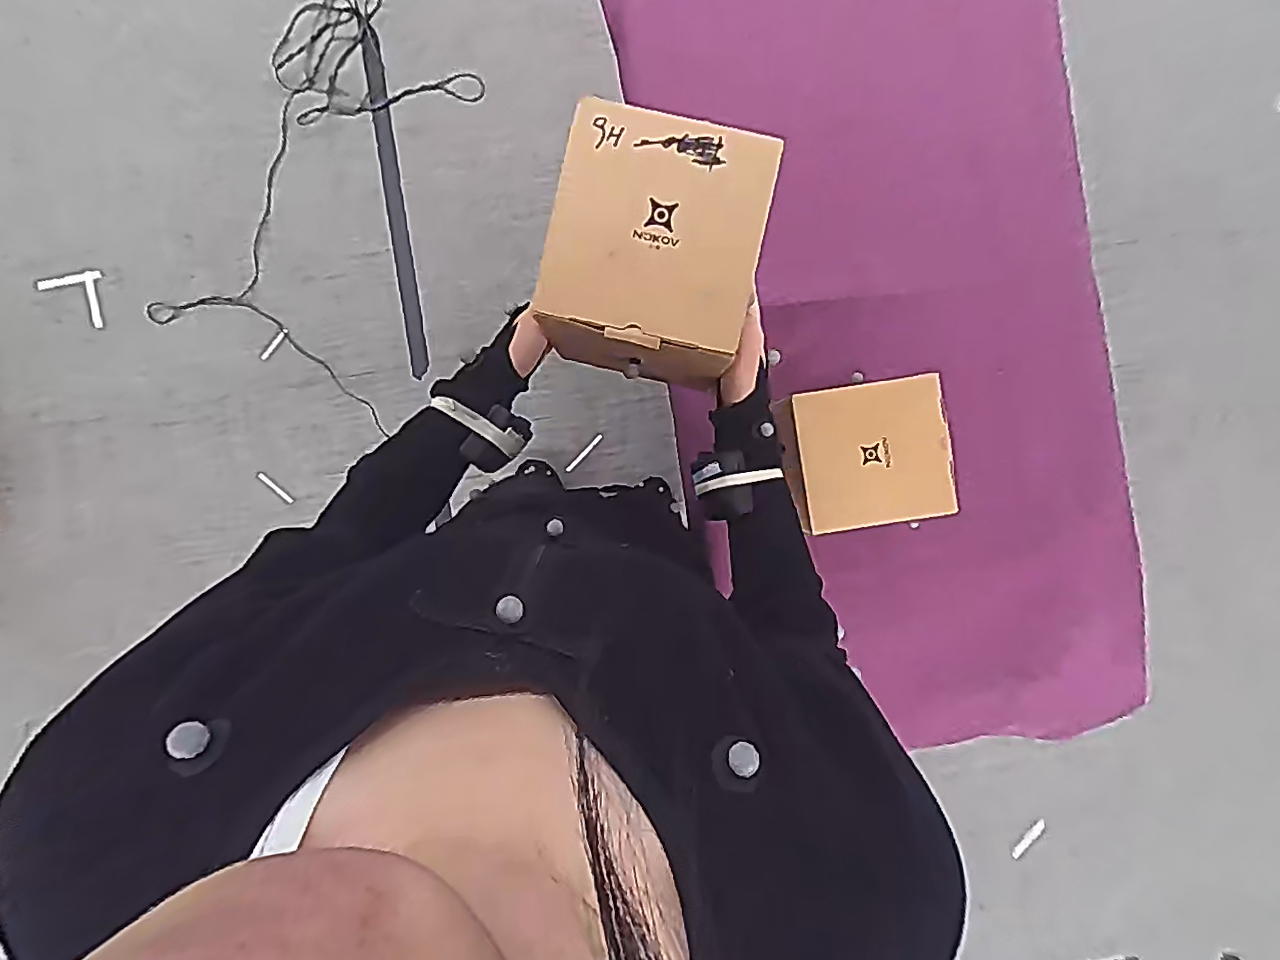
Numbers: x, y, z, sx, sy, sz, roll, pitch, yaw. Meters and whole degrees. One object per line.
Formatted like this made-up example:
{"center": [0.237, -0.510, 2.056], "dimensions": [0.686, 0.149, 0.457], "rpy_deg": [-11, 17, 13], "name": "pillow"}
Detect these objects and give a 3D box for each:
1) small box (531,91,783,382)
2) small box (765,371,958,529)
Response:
{"center": [0.013, -0.199, 0.497], "dimensions": [0.168, 0.176, 0.179], "rpy_deg": [13, 91, -1], "name": "small box"}
{"center": [0.270, -0.034, 0.704], "dimensions": [0.179, 0.176, 0.168], "rpy_deg": [-9, 91, -1], "name": "small box"}
